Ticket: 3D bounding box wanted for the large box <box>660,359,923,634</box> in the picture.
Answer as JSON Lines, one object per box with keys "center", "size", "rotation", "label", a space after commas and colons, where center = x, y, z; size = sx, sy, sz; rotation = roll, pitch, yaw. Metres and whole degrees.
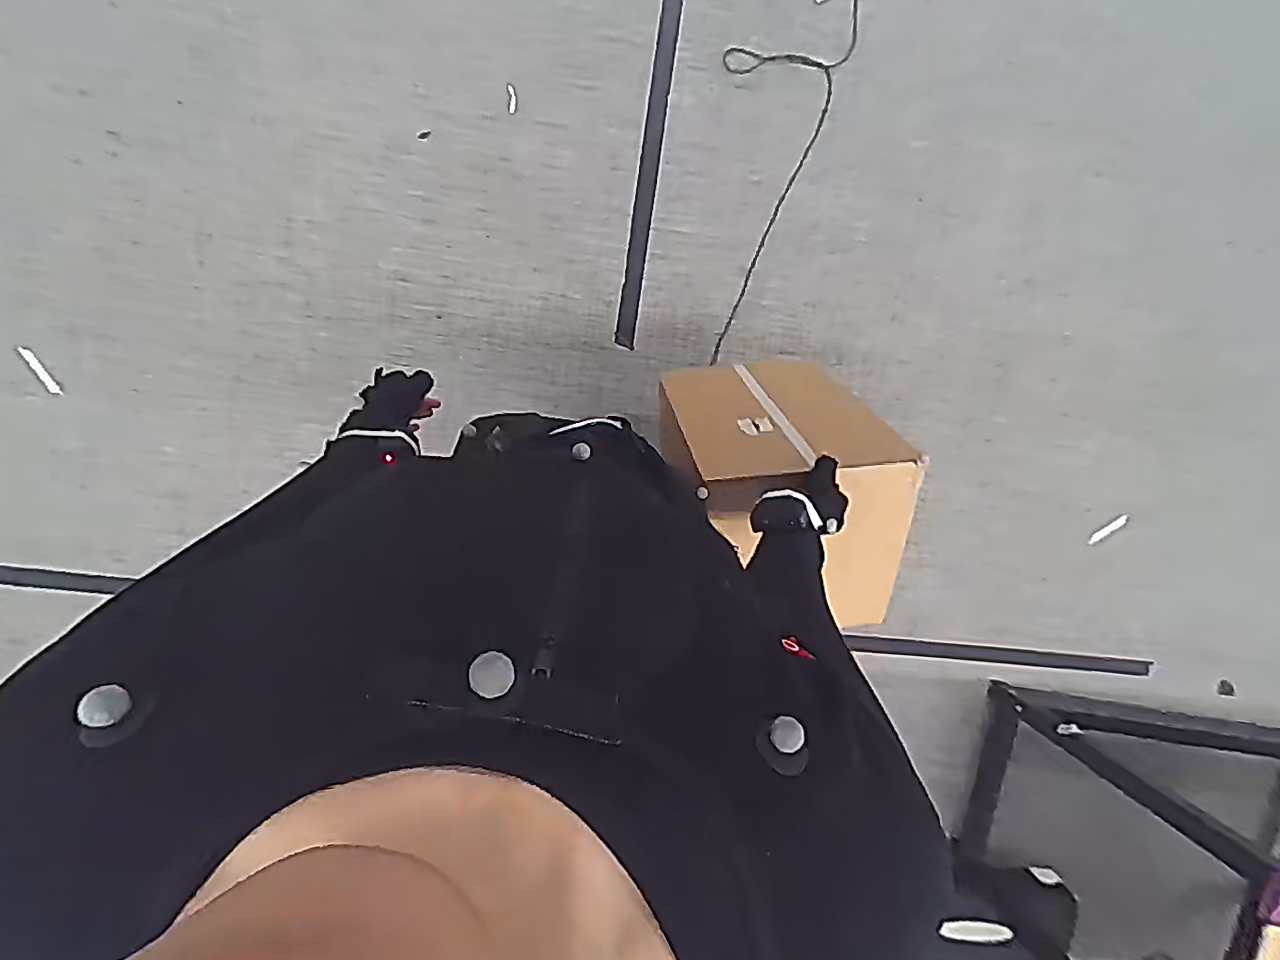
{"center": [0.223, 0.008, 0.981], "size": [0.320, 0.408, 0.320], "rotation": [-7, 124, -3], "label": "large box"}
